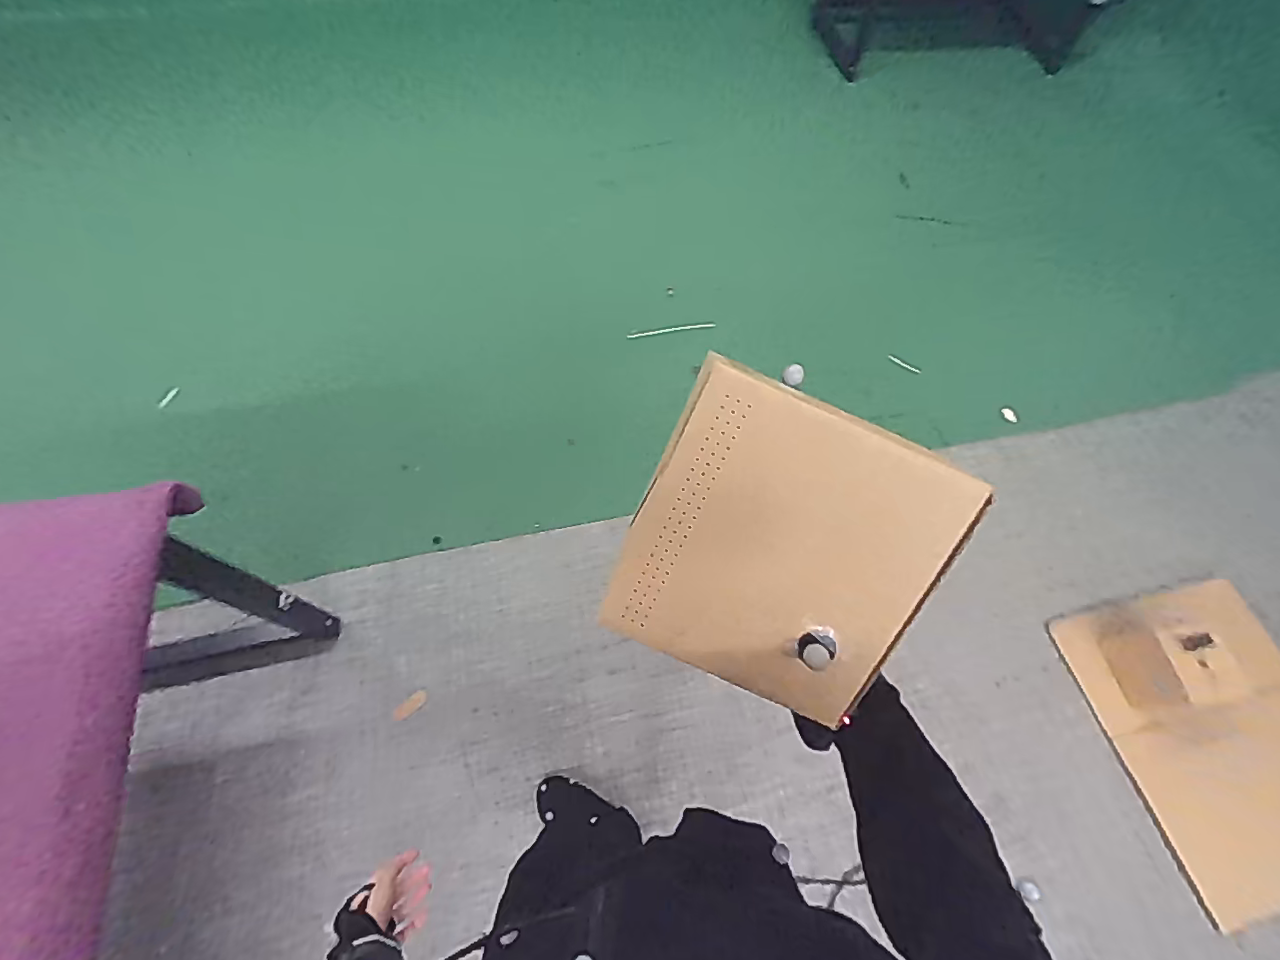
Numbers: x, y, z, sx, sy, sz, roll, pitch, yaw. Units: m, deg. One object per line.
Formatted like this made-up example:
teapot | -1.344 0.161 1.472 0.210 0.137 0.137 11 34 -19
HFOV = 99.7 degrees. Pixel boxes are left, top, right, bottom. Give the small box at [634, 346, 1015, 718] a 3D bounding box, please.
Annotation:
small box | 0.101 0.021 0.387 0.176 0.168 0.179 25 106 -1
